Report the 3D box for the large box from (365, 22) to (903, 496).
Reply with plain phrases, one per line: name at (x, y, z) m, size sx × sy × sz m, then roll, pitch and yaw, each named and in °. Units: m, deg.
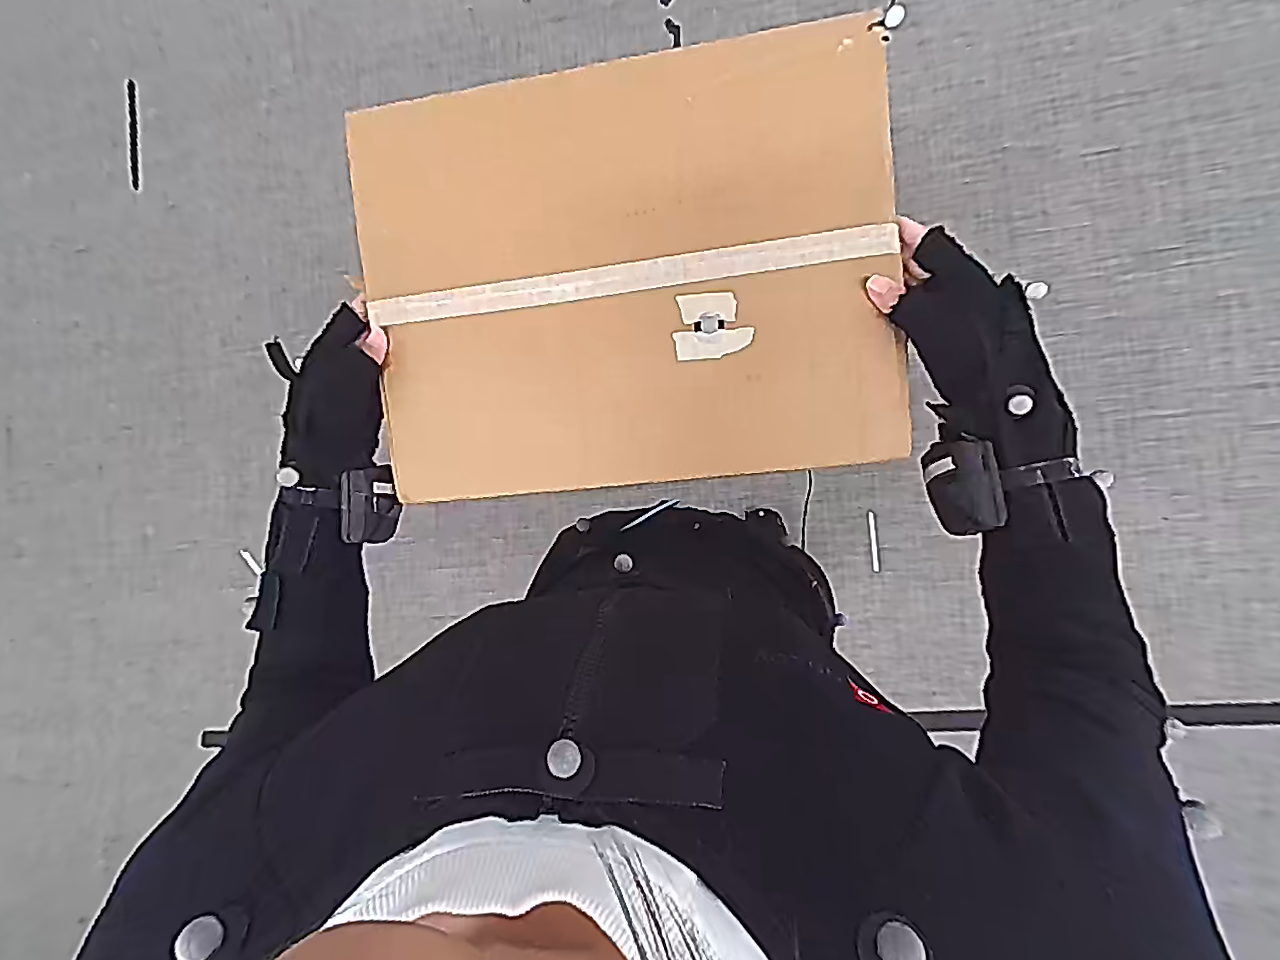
large box at (0.003, -0.171, 0.571) m, size 0.408 × 0.320 × 0.320 m, roll -6°, pitch 95°, yaw 7°
